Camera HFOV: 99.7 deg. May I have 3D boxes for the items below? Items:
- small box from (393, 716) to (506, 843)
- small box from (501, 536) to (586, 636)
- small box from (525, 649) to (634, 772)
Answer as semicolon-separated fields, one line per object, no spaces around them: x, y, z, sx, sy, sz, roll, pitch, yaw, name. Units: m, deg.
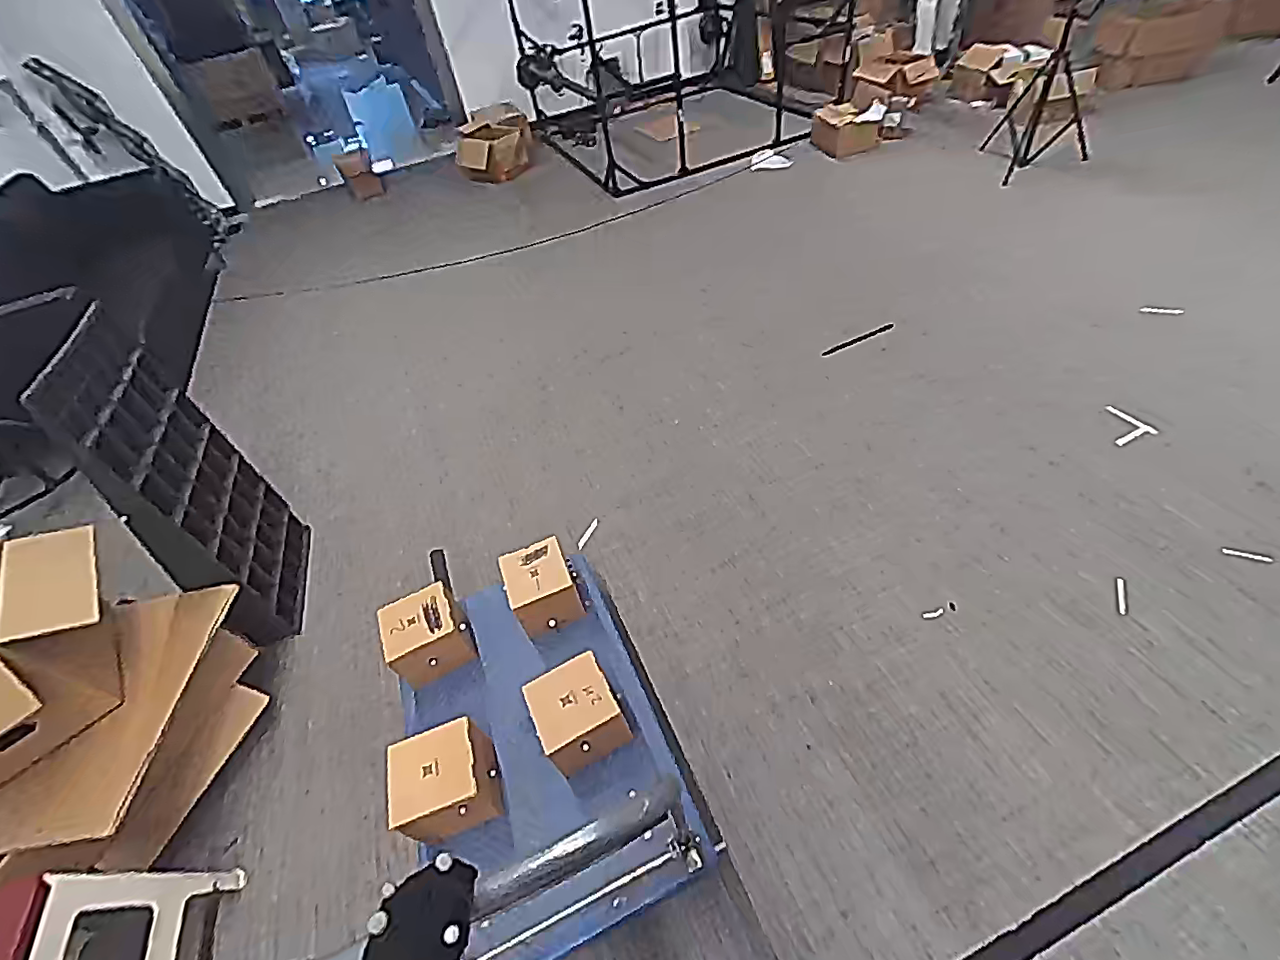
-0.410;0.651;1.169;0.179;0.176;0.168;-20;46;-10;small box
-0.262;0.291;1.472;0.168;0.176;0.179;-22;48;-9;small box
-0.133;0.527;1.228;0.179;0.176;0.168;-26;48;-13;small box
